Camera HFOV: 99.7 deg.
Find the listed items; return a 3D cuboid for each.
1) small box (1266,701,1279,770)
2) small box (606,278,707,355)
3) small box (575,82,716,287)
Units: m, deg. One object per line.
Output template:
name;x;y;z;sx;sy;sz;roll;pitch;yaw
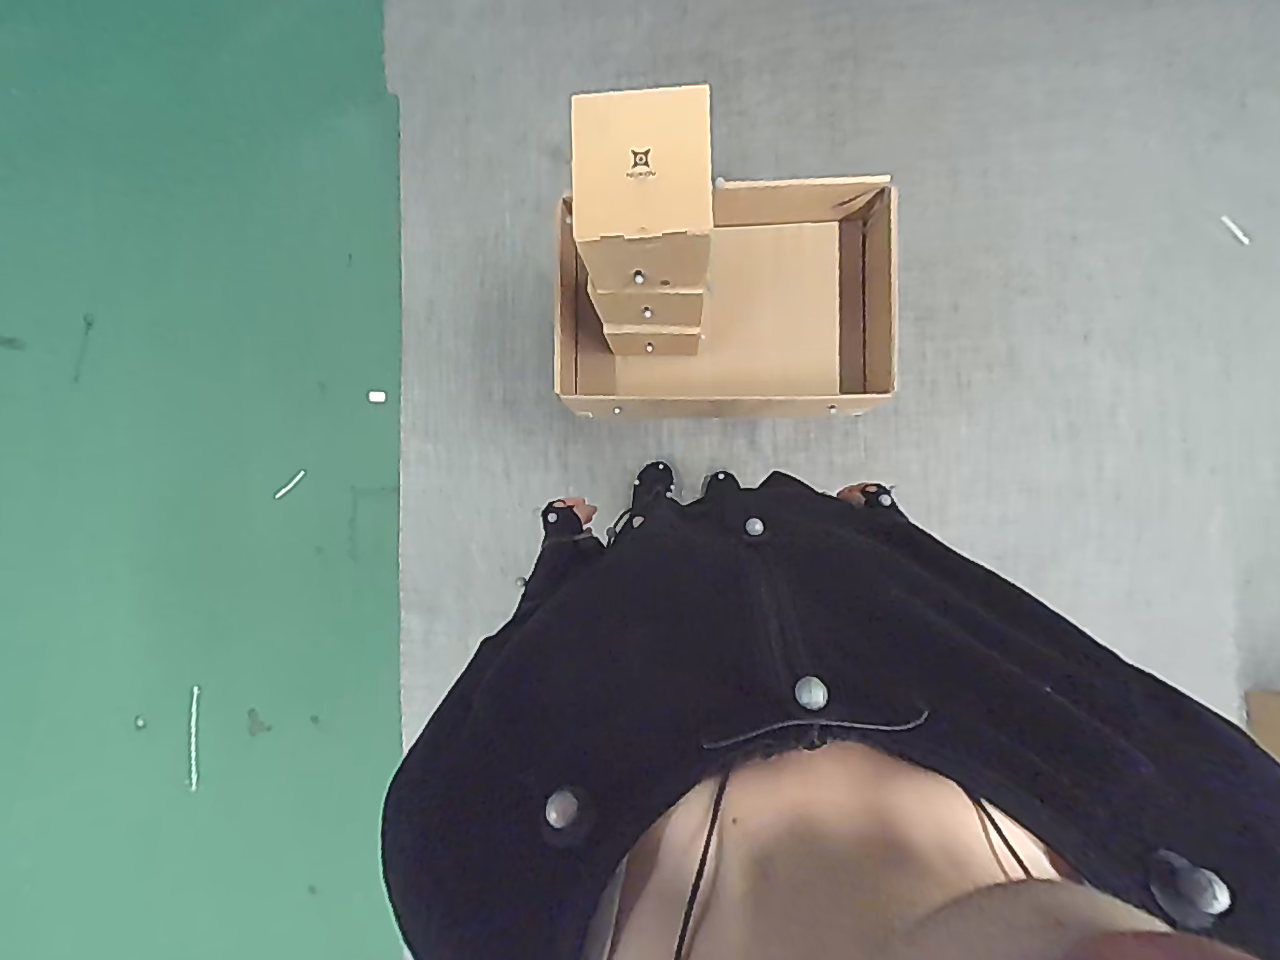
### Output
small box;1.655;0.636;1.277;0.168;0.176;0.179;-2;88;6
small box;0.035;-0.341;1.032;0.179;0.176;0.168;2;89;5
small box;0.011;-0.372;0.708;0.168;0.176;0.179;-1;89;5
